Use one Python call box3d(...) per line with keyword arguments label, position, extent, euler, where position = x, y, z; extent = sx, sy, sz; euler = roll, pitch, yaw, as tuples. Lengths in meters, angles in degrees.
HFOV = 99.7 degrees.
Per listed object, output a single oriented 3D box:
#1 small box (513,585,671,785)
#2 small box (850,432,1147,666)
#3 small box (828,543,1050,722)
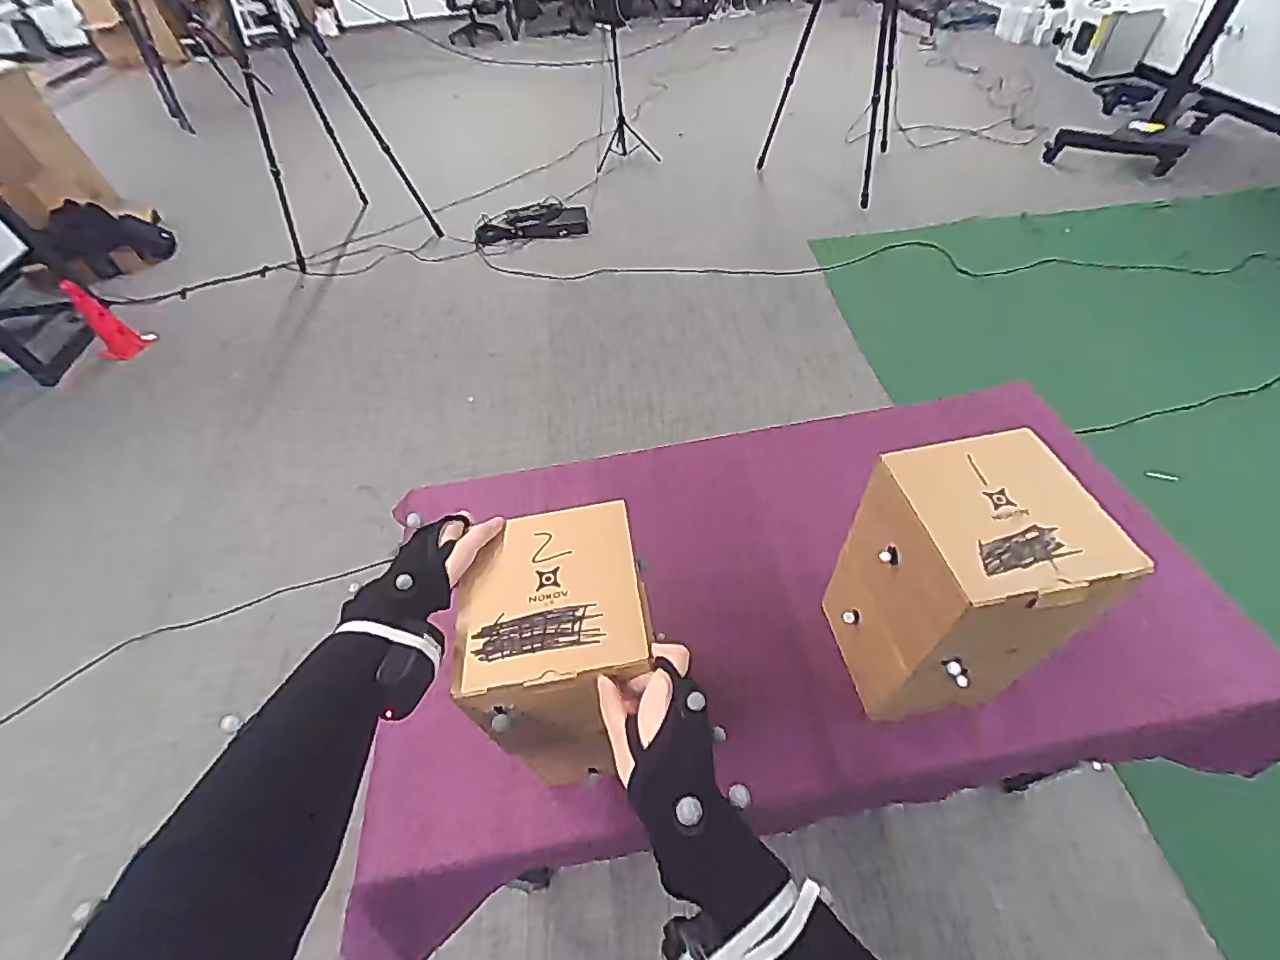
box3d(label="small box", position=(-0.056, 0.259, 0.680), extent=(0.168, 0.176, 0.179), euler=(-9, 50, -1))
box3d(label="small box", position=(0.345, 0.080, 0.568), extent=(0.168, 0.176, 0.179), euler=(-10, 50, -2))
box3d(label="small box", position=(0.358, 0.185, 0.695), extent=(0.168, 0.176, 0.179), euler=(-10, 49, -1))
